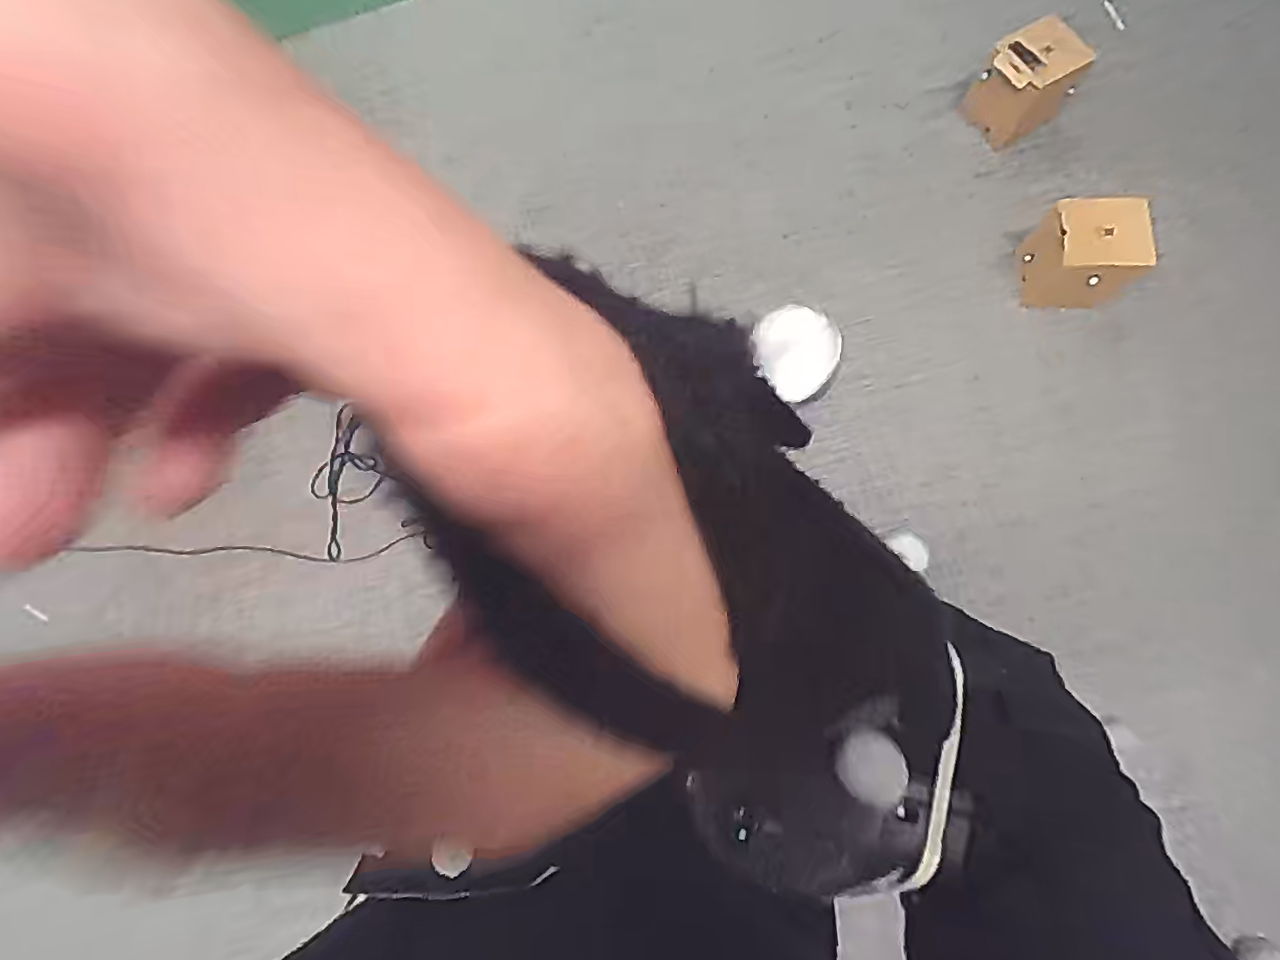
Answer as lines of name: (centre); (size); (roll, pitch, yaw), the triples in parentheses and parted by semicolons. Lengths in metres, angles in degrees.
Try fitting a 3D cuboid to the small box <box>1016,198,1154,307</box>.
small box: (0.992, -0.506, 1.220); (0.179, 0.176, 0.168); (2, 77, 8)
